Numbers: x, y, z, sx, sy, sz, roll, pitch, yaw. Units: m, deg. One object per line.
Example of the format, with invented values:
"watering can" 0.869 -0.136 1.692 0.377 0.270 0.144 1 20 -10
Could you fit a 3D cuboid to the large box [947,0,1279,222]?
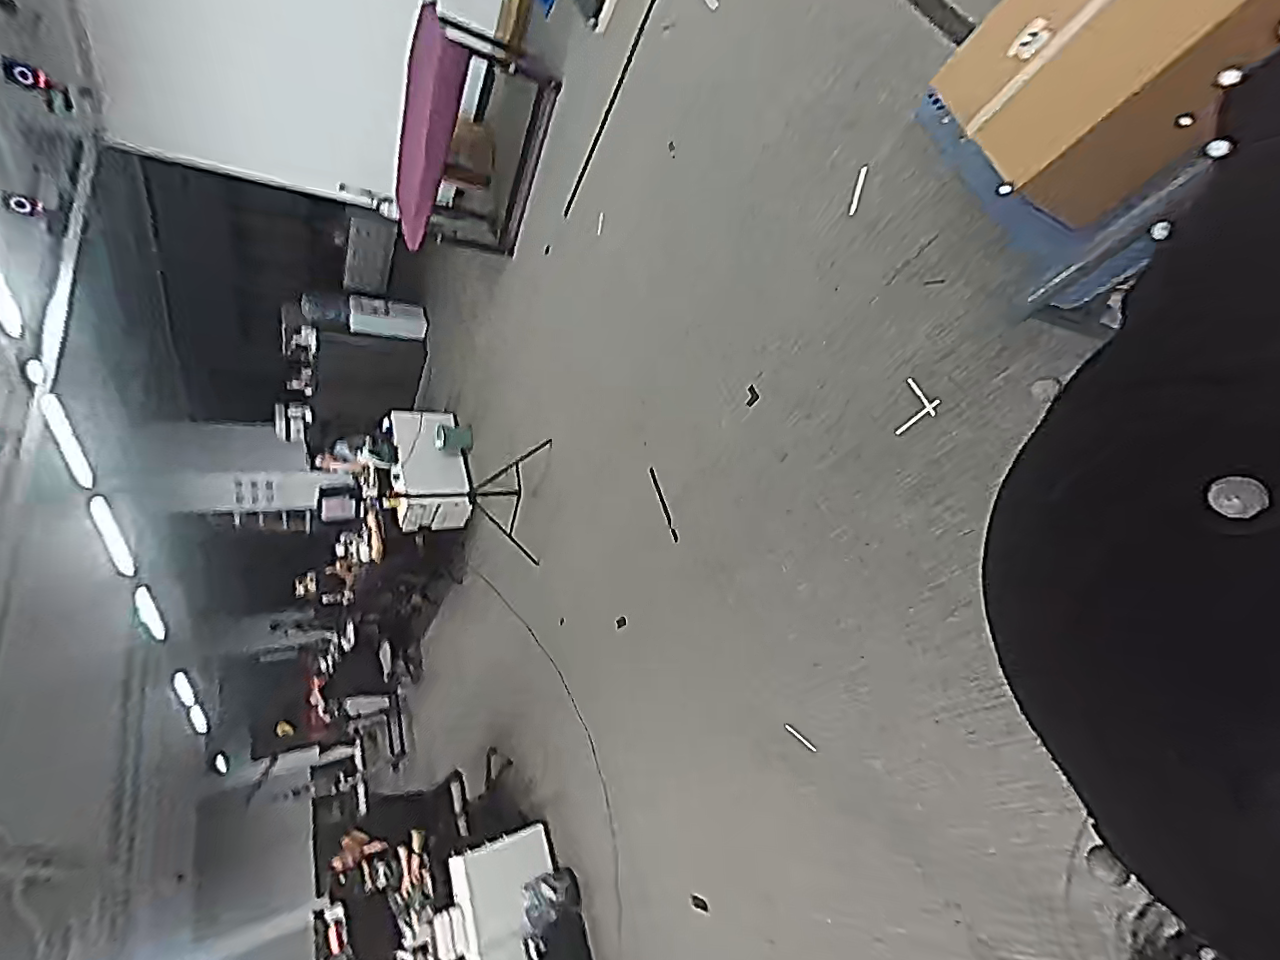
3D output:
"large box" 0.849 -0.737 0.920 0.408 0.320 0.320 -43 56 49
